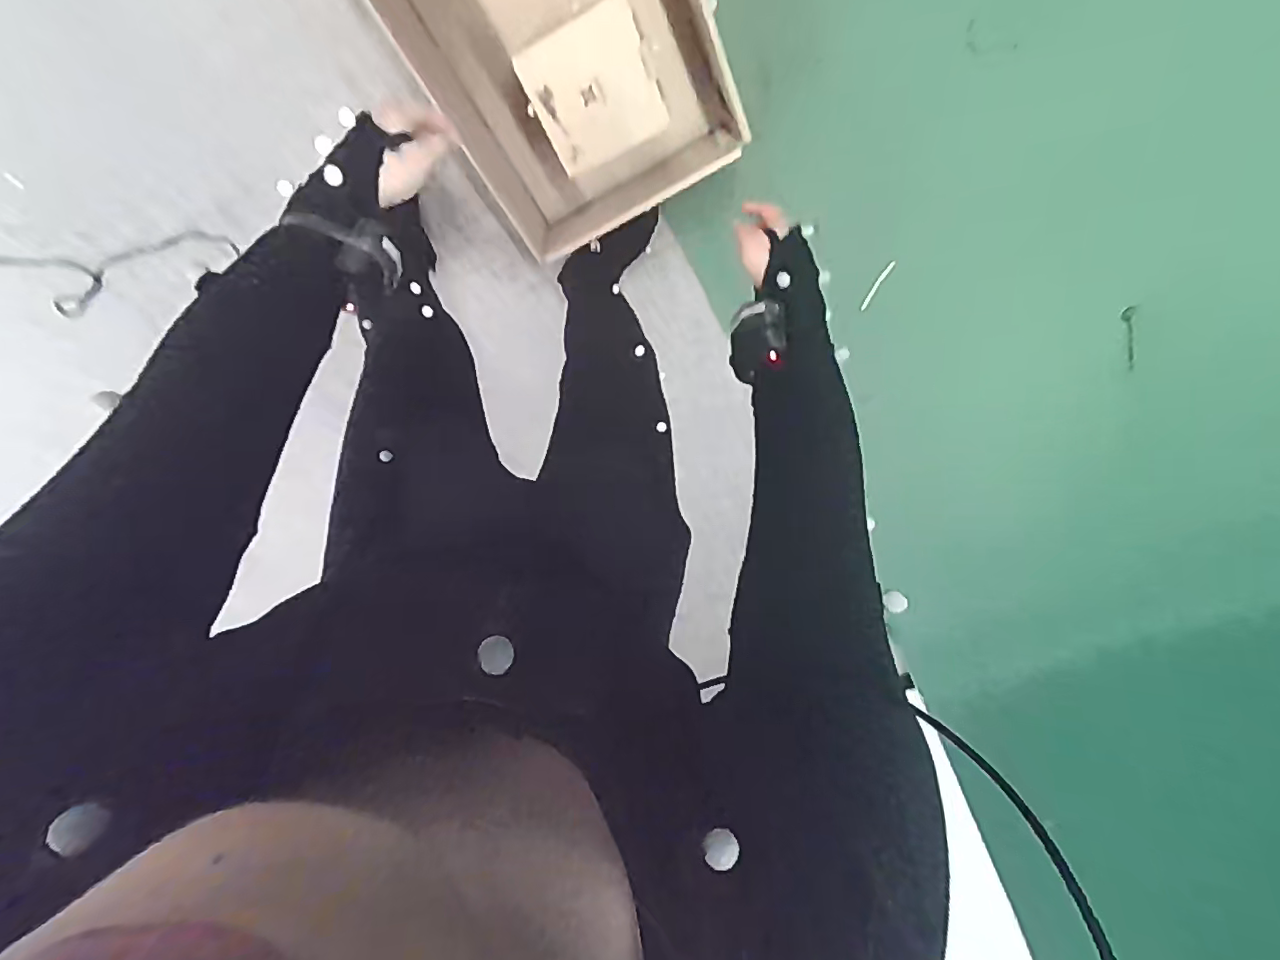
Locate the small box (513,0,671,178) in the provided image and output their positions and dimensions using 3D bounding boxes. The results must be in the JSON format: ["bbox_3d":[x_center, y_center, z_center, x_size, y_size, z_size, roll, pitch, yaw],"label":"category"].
[{"bbox_3d":[-0.068,-0.598,0.813,0.179,0.176,0.168,-19,132,15],"label":"small box"}]
